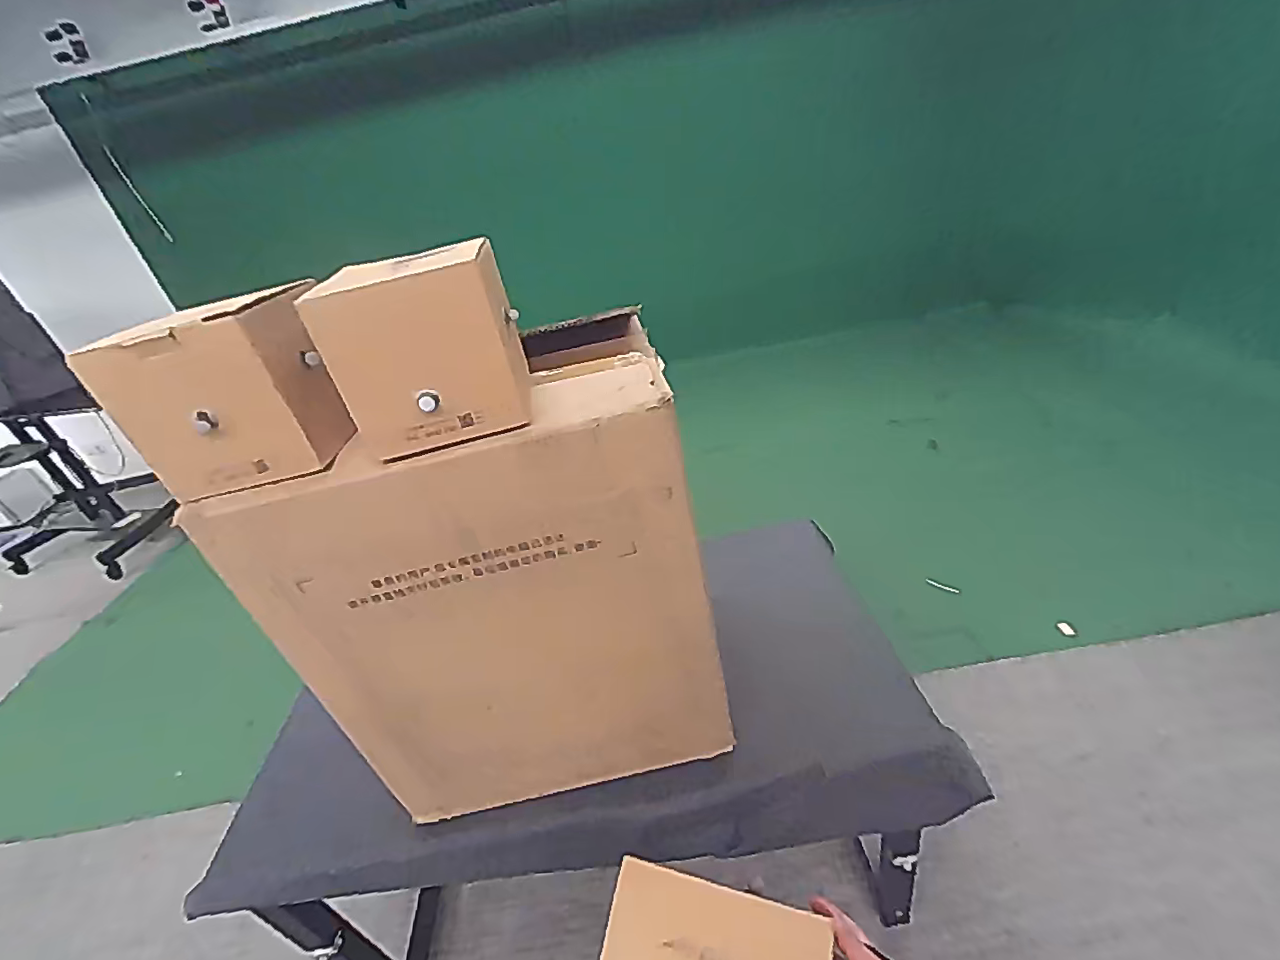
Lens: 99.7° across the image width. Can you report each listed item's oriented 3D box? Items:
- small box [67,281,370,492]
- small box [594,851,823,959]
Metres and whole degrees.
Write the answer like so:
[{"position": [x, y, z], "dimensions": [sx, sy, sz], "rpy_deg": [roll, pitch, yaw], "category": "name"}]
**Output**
[{"position": [-0.434, -0.101, 0.601], "dimensions": [0.168, 0.176, 0.179], "rpy_deg": [-13, 31, 1], "category": "small box"}, {"position": [0.057, 0.432, 0.436], "dimensions": [0.168, 0.176, 0.179], "rpy_deg": [3, 52, 20], "category": "small box"}]
